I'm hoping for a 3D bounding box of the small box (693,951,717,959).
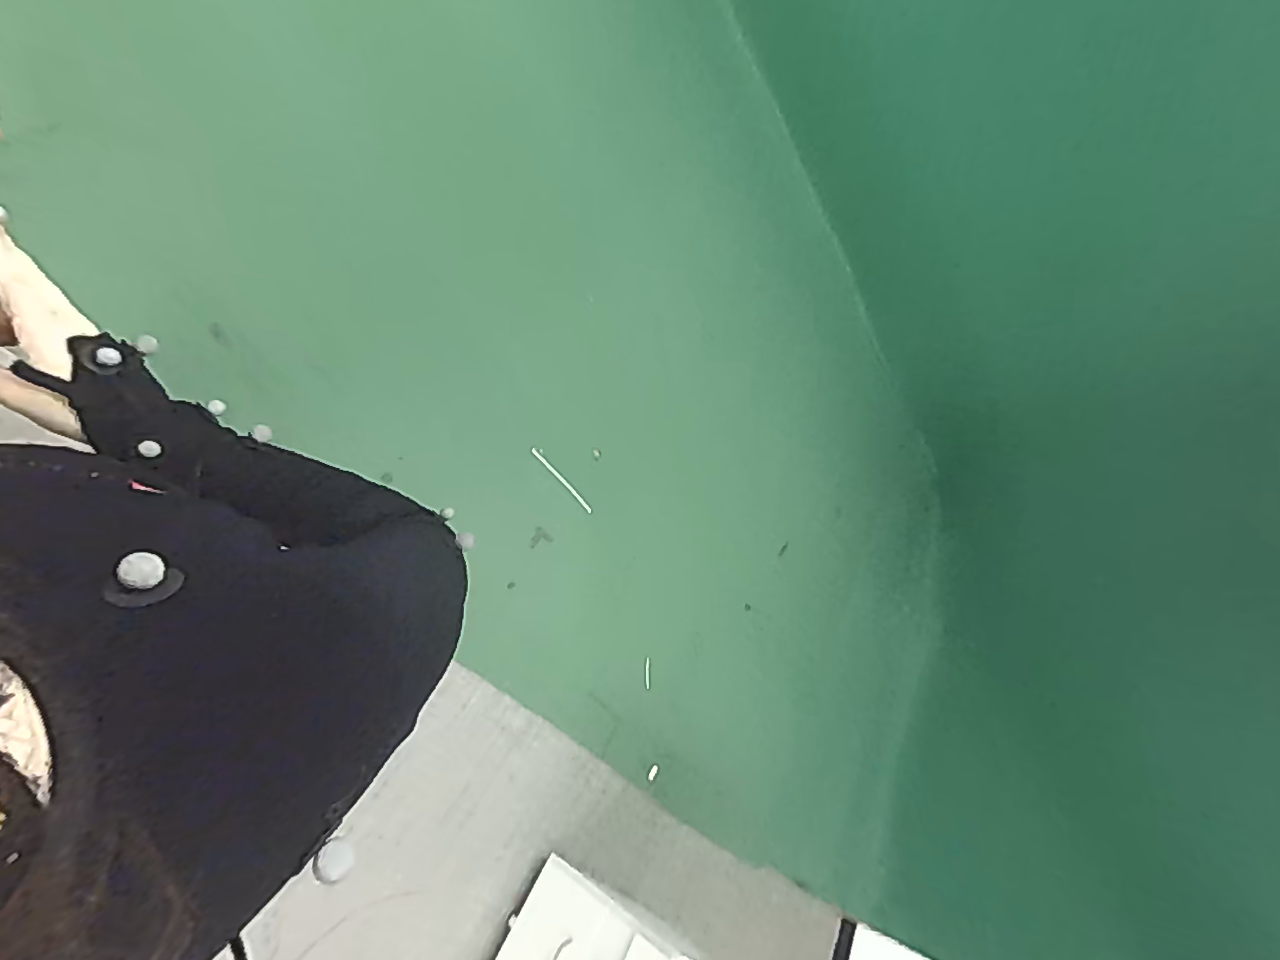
[{"bbox_3d":[0.194,1.272,1.282,0.179,0.176,0.168,52,57,-28],"label":"small box"}]
